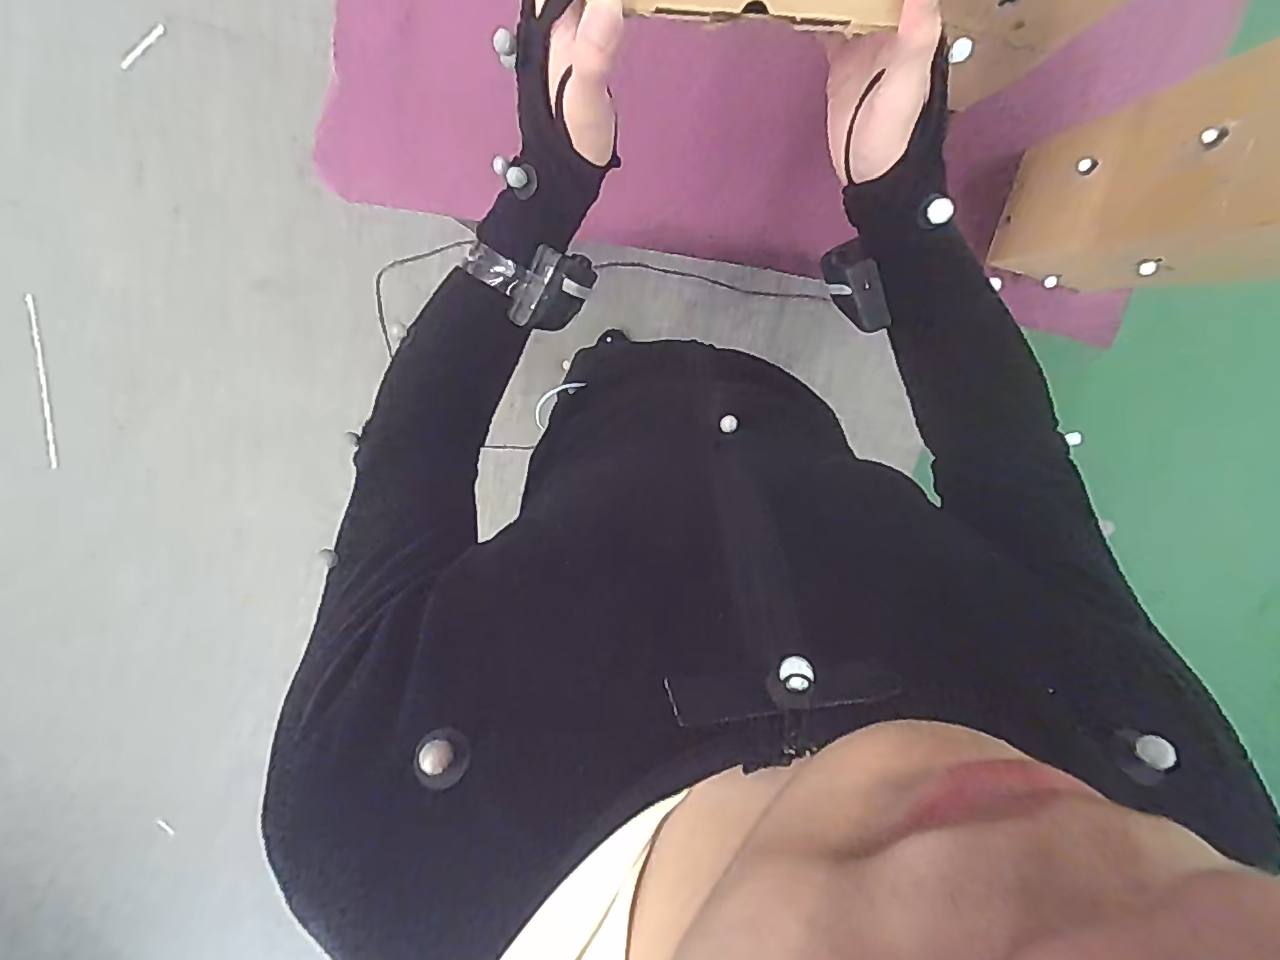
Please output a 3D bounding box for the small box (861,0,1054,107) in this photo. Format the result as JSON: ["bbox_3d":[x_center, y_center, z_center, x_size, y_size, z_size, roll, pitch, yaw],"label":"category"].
[{"bbox_3d":[0.402,-0.605,0.664,0.168,0.176,0.179,12,105,-7],"label":"small box"}]

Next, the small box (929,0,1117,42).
[{"bbox_3d":[0.407,-0.566,0.506,0.168,0.176,0.179,9,107,-7],"label":"small box"}]

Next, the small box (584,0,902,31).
[{"bbox_3d":[0.050,-0.352,0.268,0.168,0.176,0.179,-3,136,-8],"label":"small box"}]

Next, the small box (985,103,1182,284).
[{"bbox_3d":[0.634,-0.375,0.746,0.179,0.176,0.168,12,104,-6],"label":"small box"}]
